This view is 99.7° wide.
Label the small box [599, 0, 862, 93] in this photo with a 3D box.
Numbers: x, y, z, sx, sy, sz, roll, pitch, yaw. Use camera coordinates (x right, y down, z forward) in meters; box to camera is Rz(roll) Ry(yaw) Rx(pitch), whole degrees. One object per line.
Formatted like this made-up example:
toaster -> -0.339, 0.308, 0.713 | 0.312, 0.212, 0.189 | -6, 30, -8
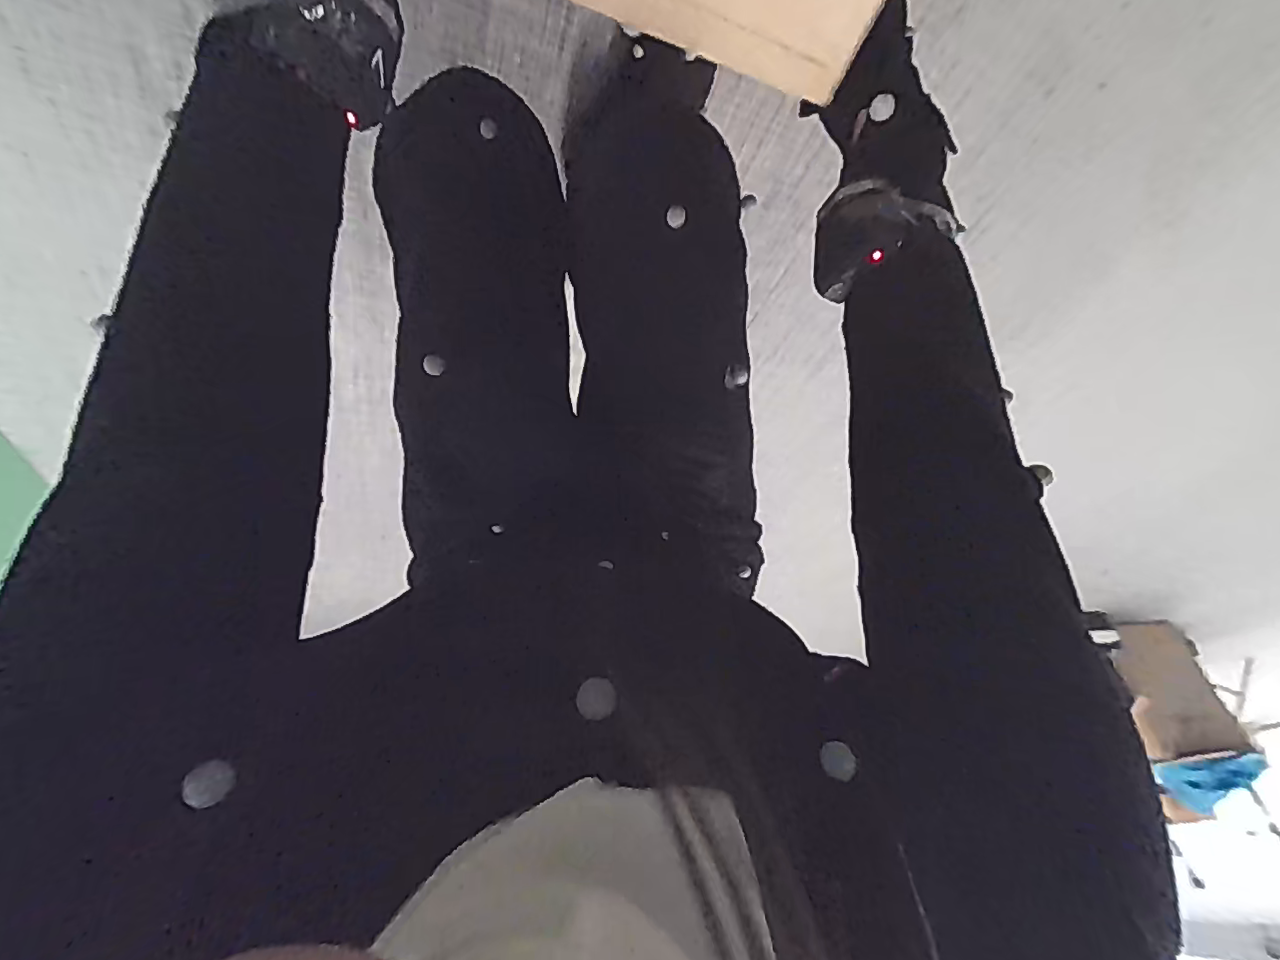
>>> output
small box -> 0.035, -0.330, 0.249 | 0.179, 0.176, 0.168 | 9, 144, -18
